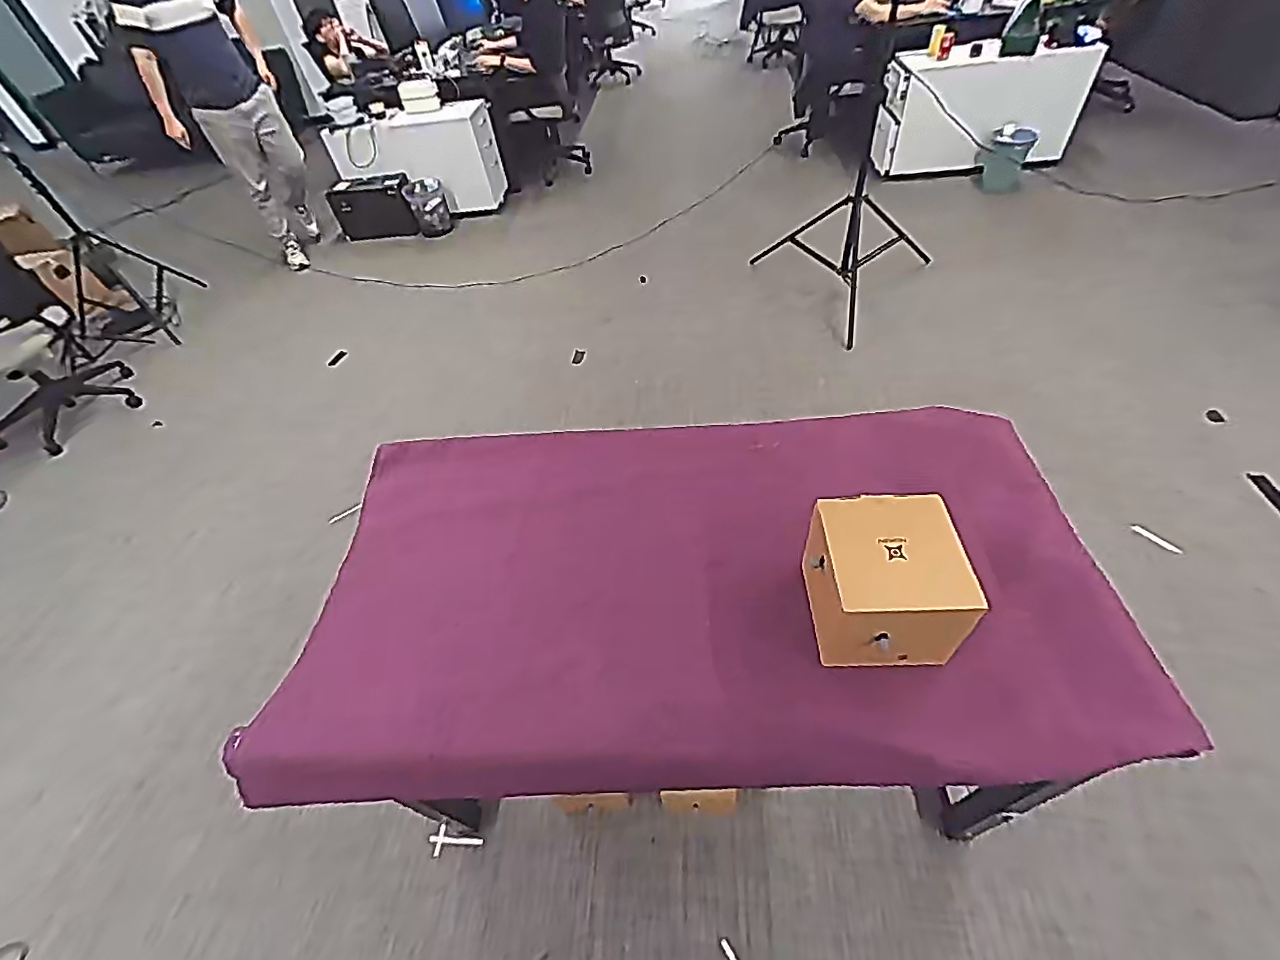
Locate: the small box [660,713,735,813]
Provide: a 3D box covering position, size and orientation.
[{"bbox_3d":[0.140,0.675,1.285,0.168,0.176,0.179,0,48,7],"label":"small box"}]

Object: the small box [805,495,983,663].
[{"bbox_3d":[0.333,0.143,0.751,0.168,0.176,0.179,-3,48,6],"label":"small box"}]
